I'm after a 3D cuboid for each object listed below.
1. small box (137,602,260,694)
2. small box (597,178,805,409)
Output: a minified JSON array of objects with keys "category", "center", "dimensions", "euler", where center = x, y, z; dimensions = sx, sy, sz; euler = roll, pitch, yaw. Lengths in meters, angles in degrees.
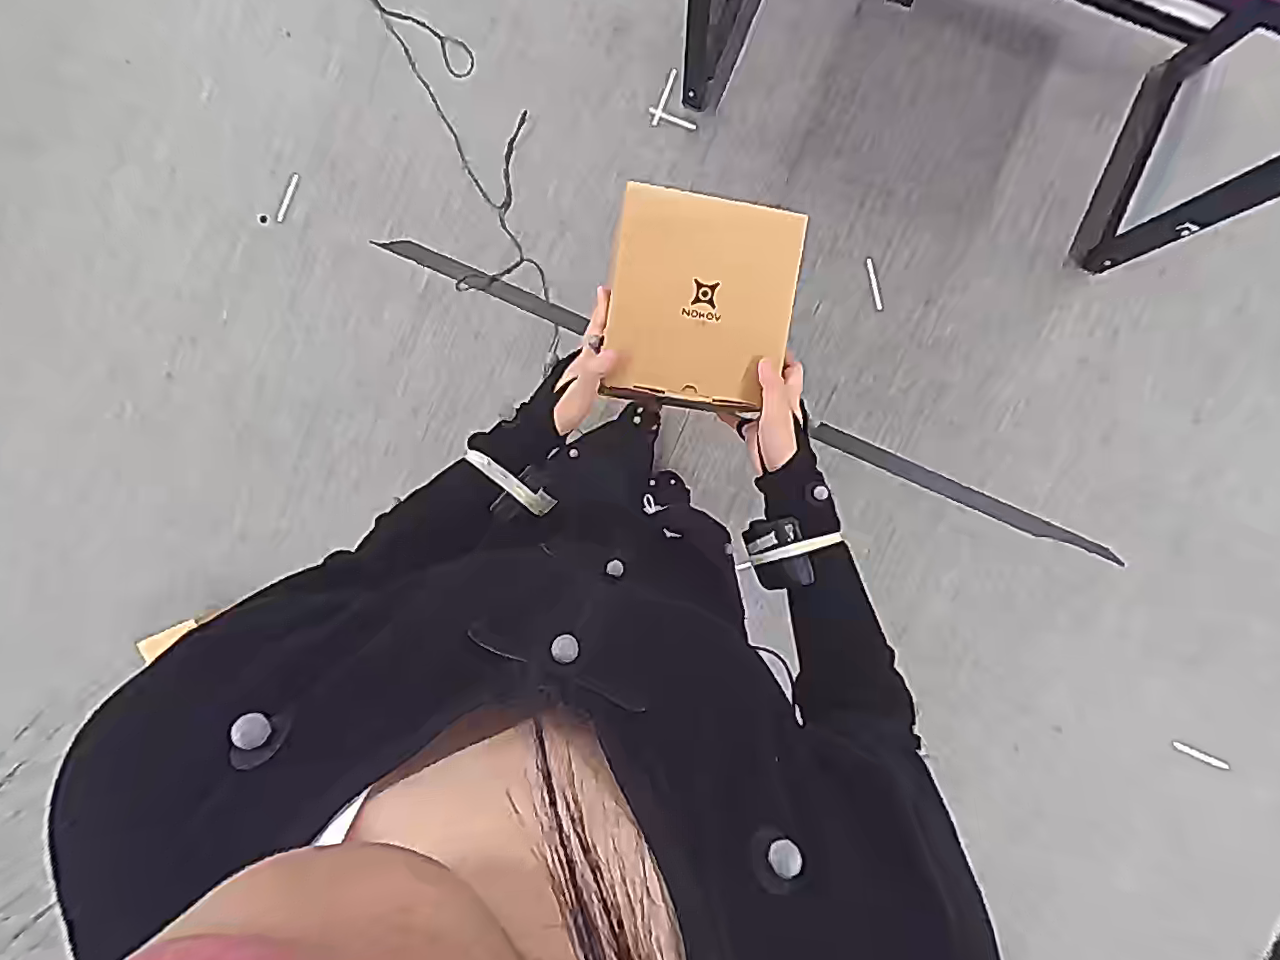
[{"category":"small box","center":[-1.212,0.458,1.496],"dimensions":[0.179,0.176,0.168],"euler":[-23,91,3]},{"category":"small box","center":[0.048,-0.172,0.559],"dimensions":[0.168,0.176,0.179],"euler":[8,96,-7]}]
